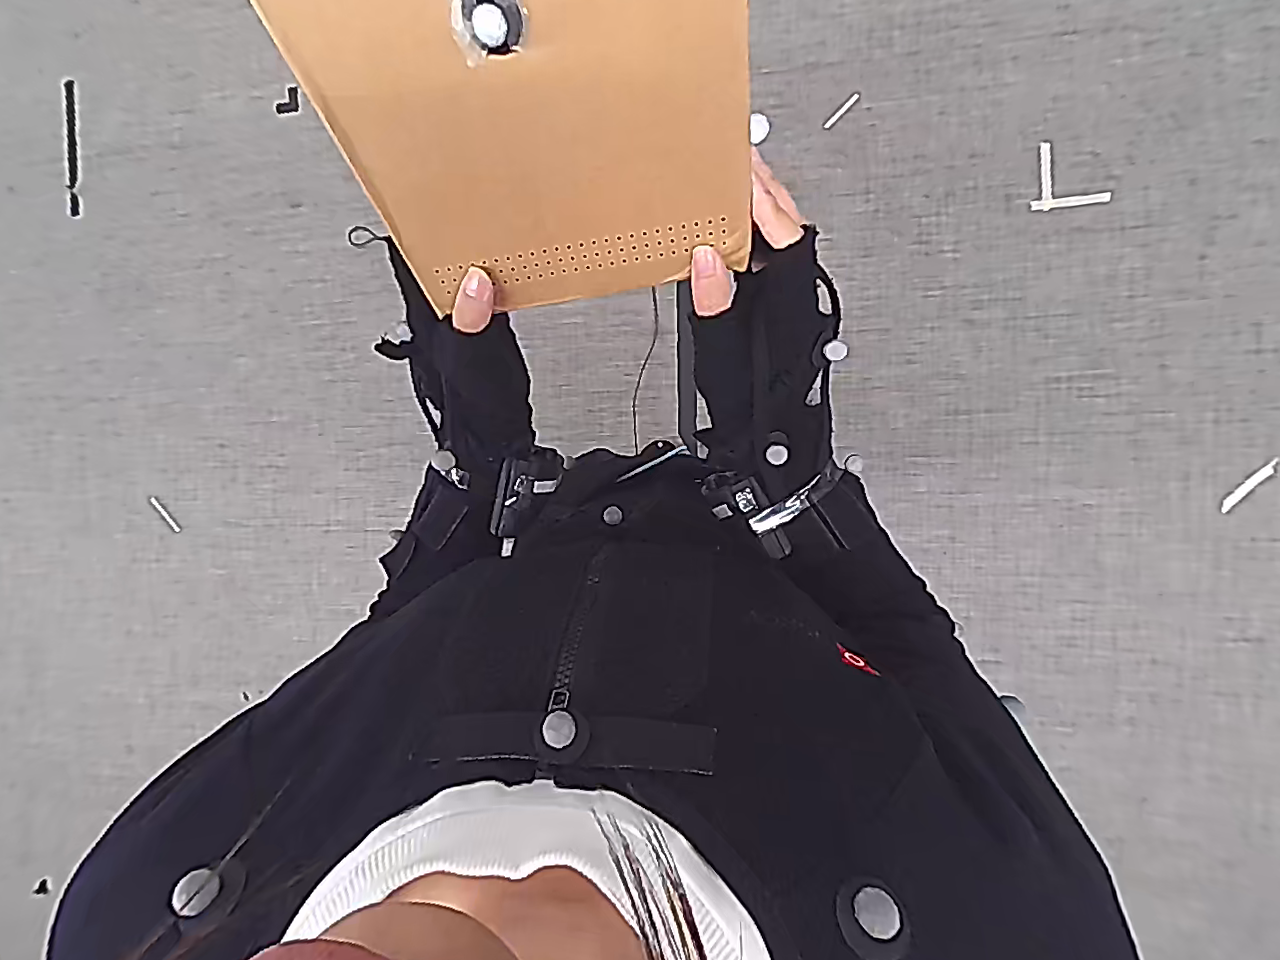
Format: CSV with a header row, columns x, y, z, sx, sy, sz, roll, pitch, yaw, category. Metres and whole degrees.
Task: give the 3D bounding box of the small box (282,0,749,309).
x,y,z,sx,sy,sz,roll,pitch,yaw,category
-0.040,-0.214,0.290,0.179,0.176,0.168,-7,56,8,small box
